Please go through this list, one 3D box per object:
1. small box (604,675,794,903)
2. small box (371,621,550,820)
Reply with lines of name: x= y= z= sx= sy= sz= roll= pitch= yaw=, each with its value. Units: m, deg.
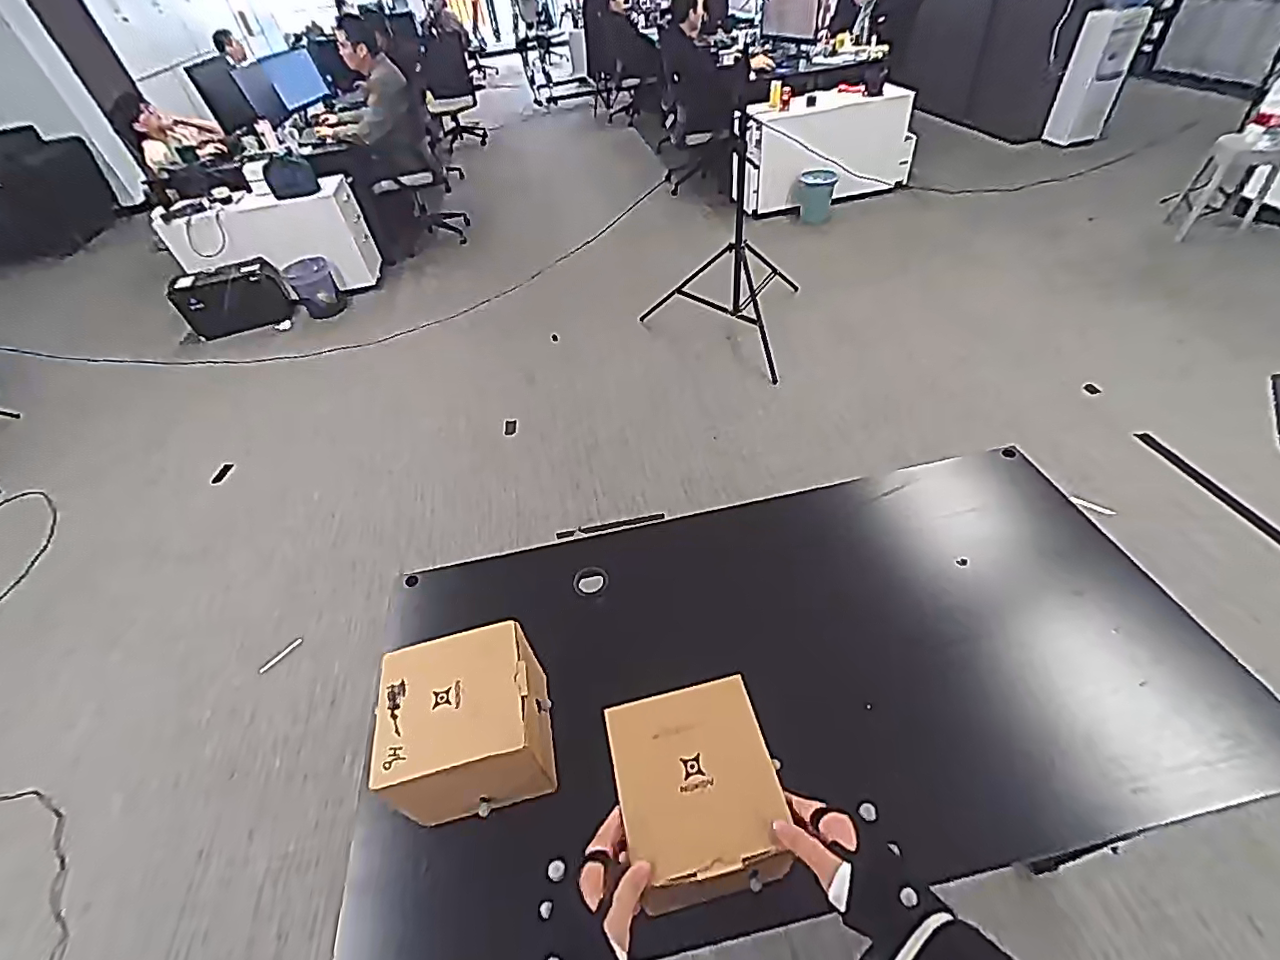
small box: x=0.061 y=0.360 z=0.625 sx=0.168 sy=0.176 sz=0.179 roll=-12 pitch=45 yaw=-6
small box: x=-0.219 y=0.314 z=0.705 sx=0.179 sy=0.176 sz=0.168 roll=-12 pitch=45 yaw=-6
